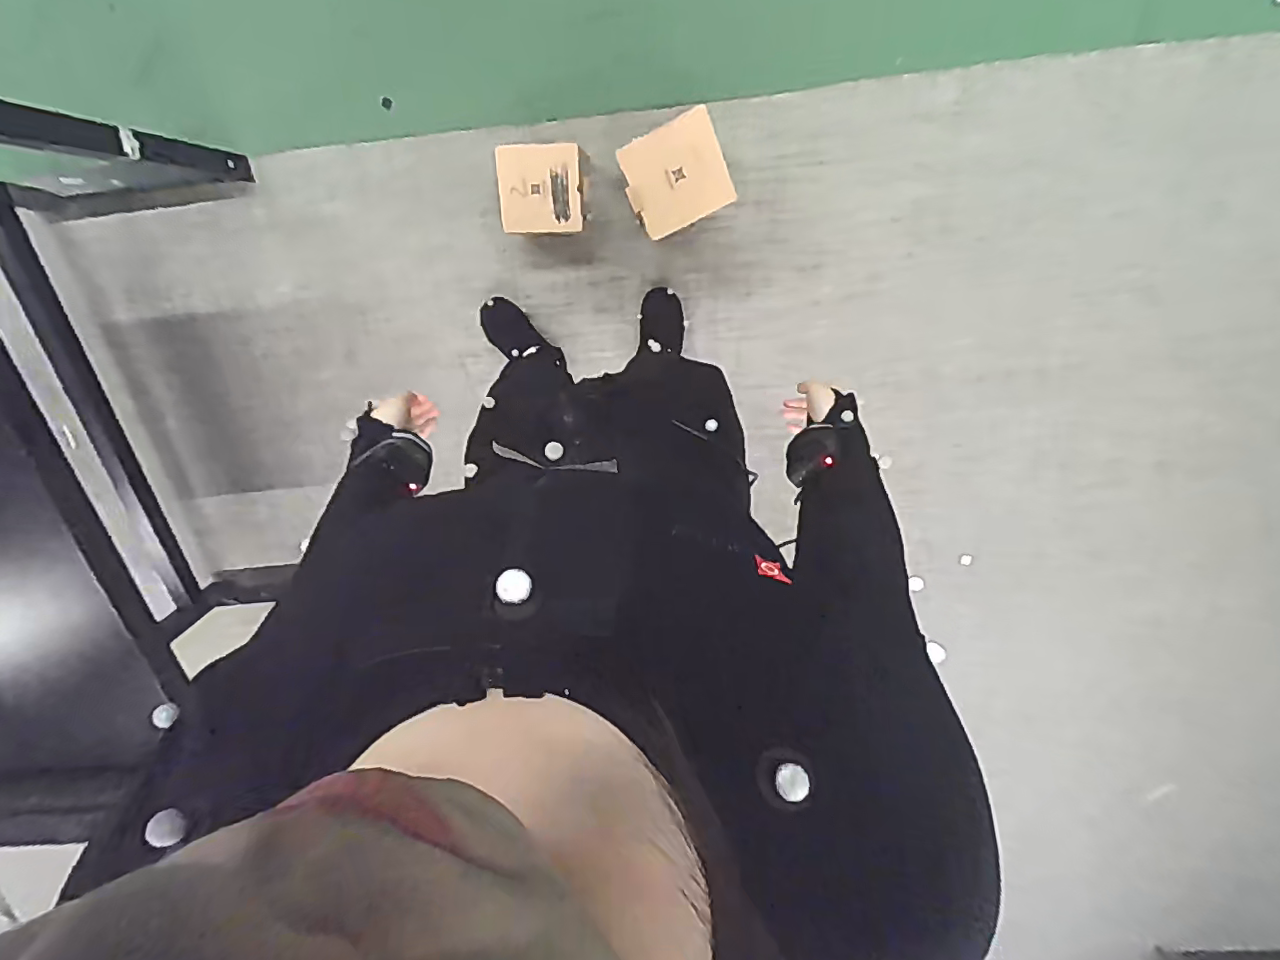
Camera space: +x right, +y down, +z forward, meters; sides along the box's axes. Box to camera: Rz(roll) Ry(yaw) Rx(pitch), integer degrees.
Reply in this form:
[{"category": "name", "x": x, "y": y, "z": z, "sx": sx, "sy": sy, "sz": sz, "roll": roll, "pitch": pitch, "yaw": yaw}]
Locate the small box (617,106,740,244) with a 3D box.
[{"category": "small box", "x": 0.071, "y": -0.566, "z": 1.030, "sx": 0.179, "sy": 0.176, "sz": 0.168, "roll": -23, "pitch": 112, "yaw": 11}]
